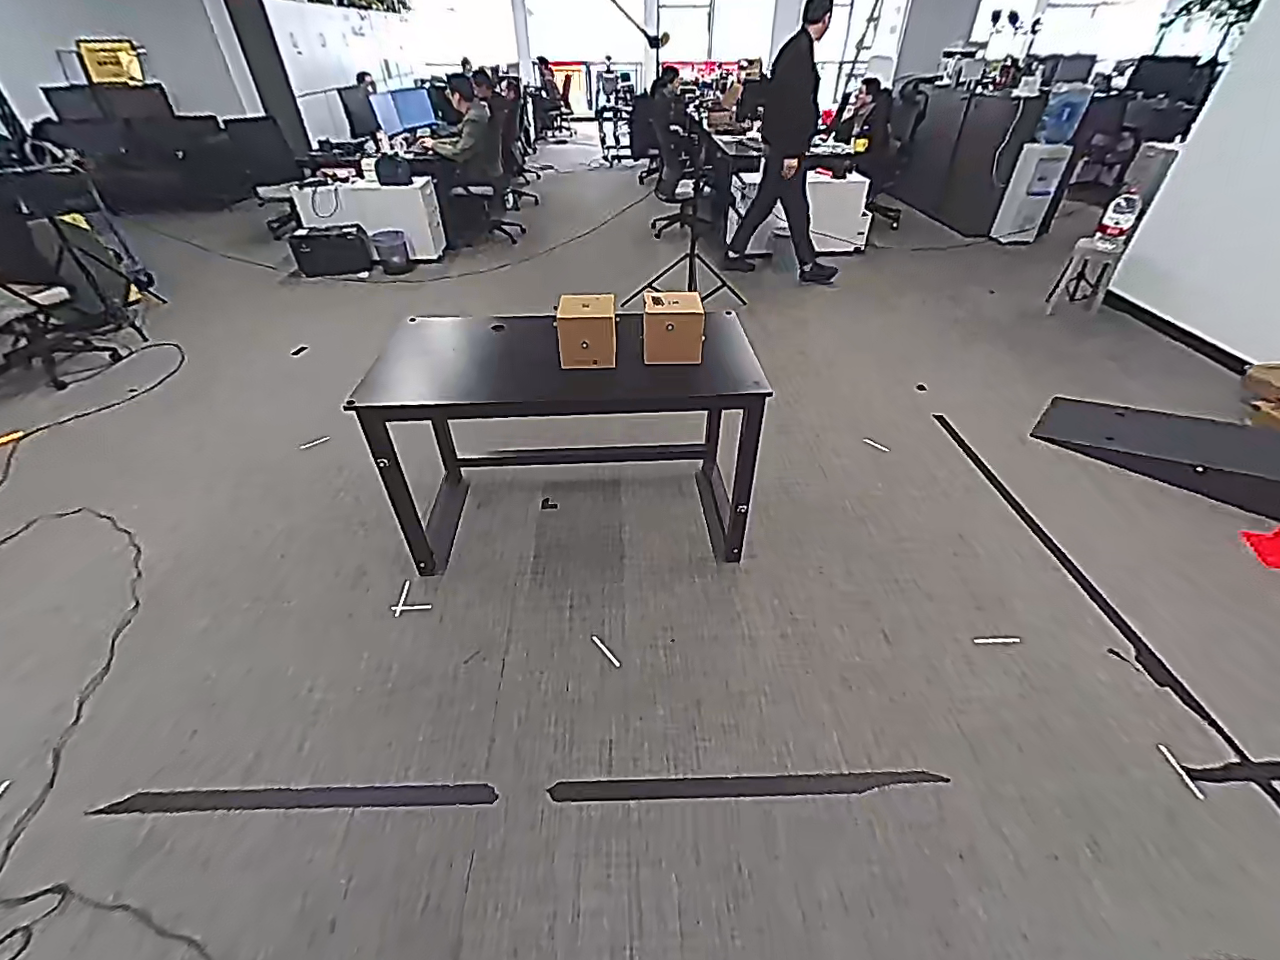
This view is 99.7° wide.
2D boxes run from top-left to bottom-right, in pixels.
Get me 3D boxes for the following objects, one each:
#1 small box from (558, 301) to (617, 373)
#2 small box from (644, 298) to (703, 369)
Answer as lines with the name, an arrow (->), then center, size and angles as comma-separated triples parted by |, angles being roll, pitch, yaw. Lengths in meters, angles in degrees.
small box -> -0.158, -0.447, 1.692 | 0.168, 0.176, 0.179 | -1, 39, -1
small box -> 0.102, -0.462, 1.707 | 0.179, 0.176, 0.168 | -1, 39, -1
